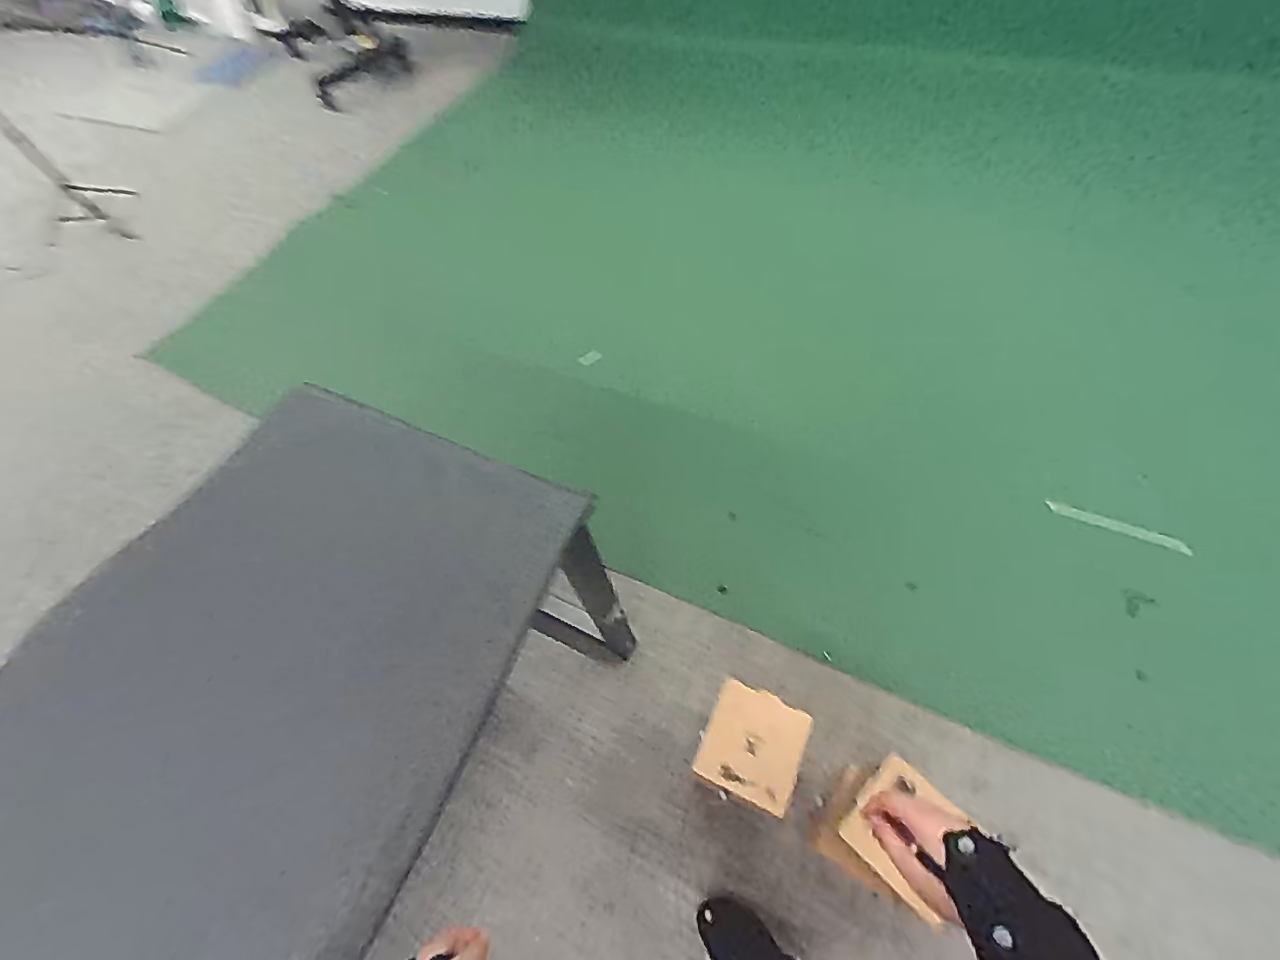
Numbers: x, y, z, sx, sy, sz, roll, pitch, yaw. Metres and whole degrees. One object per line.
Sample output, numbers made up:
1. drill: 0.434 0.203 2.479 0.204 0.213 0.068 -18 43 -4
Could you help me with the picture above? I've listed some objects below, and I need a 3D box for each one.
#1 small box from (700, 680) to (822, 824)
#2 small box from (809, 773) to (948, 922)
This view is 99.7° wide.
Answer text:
1. small box: 0.217 0.509 1.014 0.168 0.176 0.179 23 63 18
2. small box: 0.456 0.704 1.056 0.179 0.176 0.168 29 66 23
